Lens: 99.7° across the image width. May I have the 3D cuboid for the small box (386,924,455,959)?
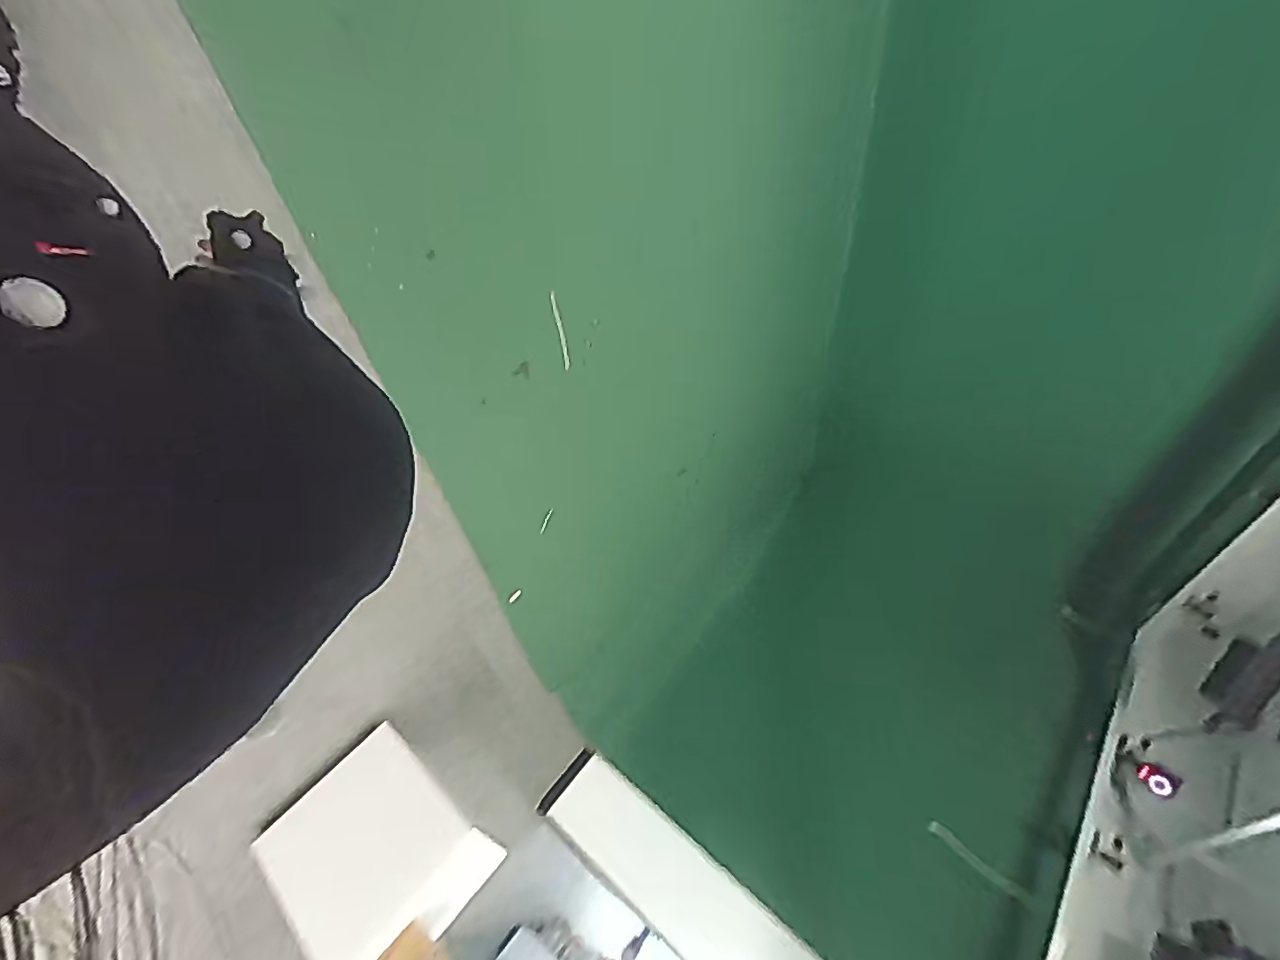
[{"bbox_3d":[-0.673,1.519,1.660,0.168,0.176,0.179,-41,143,-32],"label":"small box"}]
